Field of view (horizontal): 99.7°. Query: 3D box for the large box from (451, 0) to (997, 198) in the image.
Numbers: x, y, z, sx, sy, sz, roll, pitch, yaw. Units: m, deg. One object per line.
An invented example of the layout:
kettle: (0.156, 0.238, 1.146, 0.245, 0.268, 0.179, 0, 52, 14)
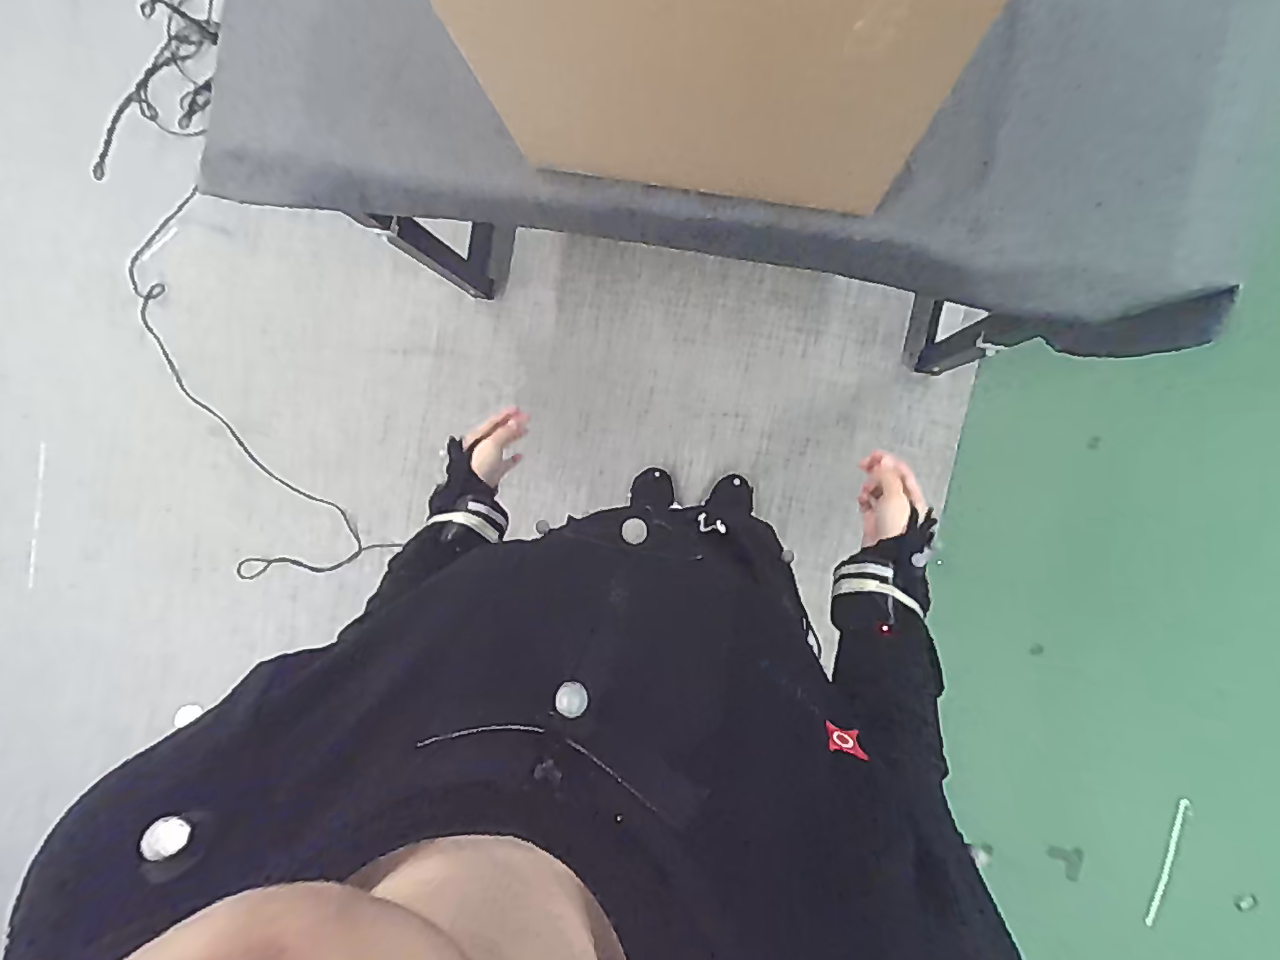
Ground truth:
large box: (0.075, -0.488, 0.465, 0.408, 0.320, 0.320, 12, 93, 6)
